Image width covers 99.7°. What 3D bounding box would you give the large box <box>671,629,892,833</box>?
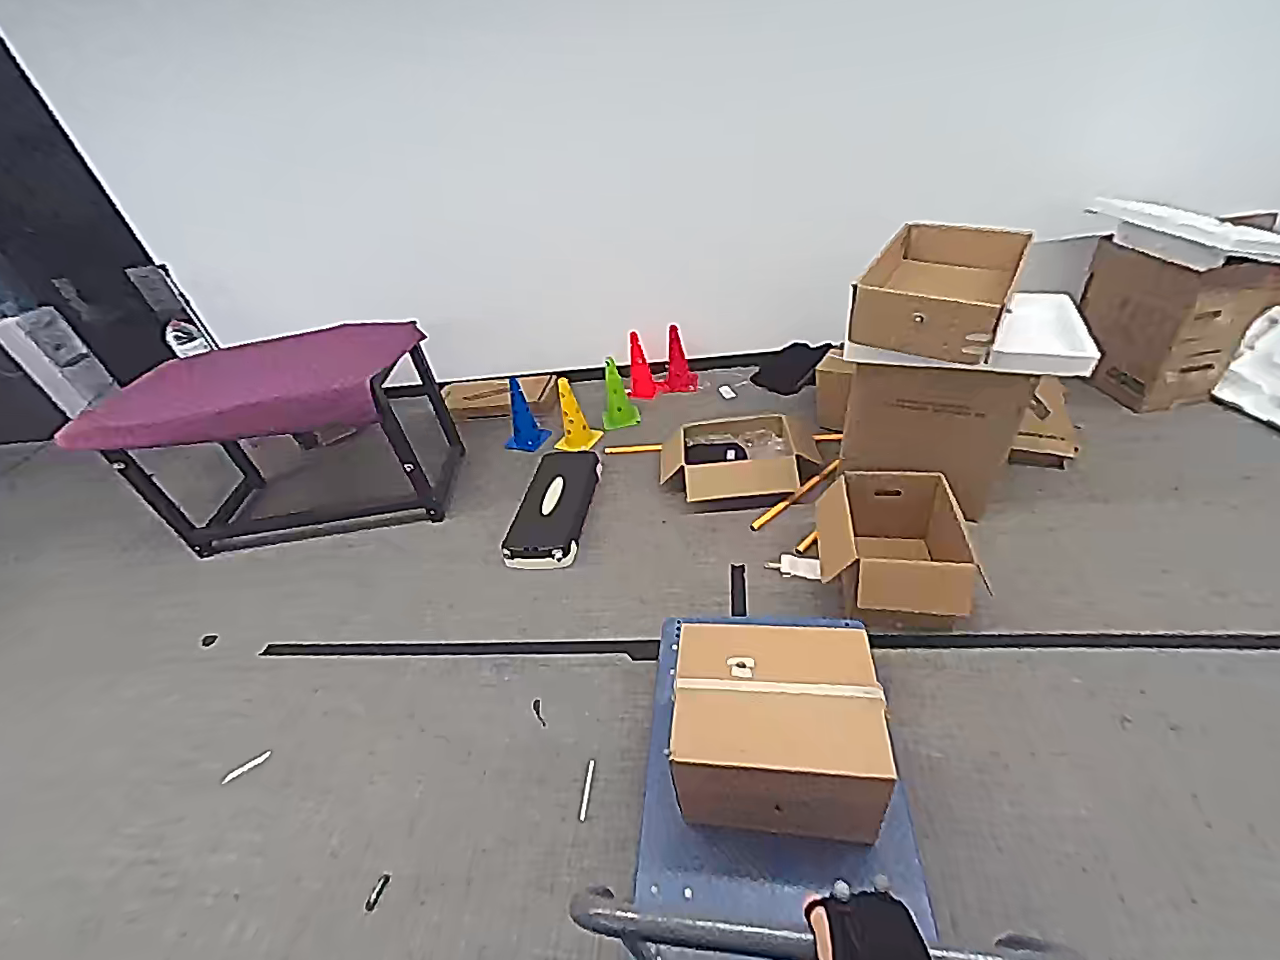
[{"bbox_3d":[0.296,0.551,1.200,0.408,0.320,0.320,-3,38,11],"label":"large box"}]
